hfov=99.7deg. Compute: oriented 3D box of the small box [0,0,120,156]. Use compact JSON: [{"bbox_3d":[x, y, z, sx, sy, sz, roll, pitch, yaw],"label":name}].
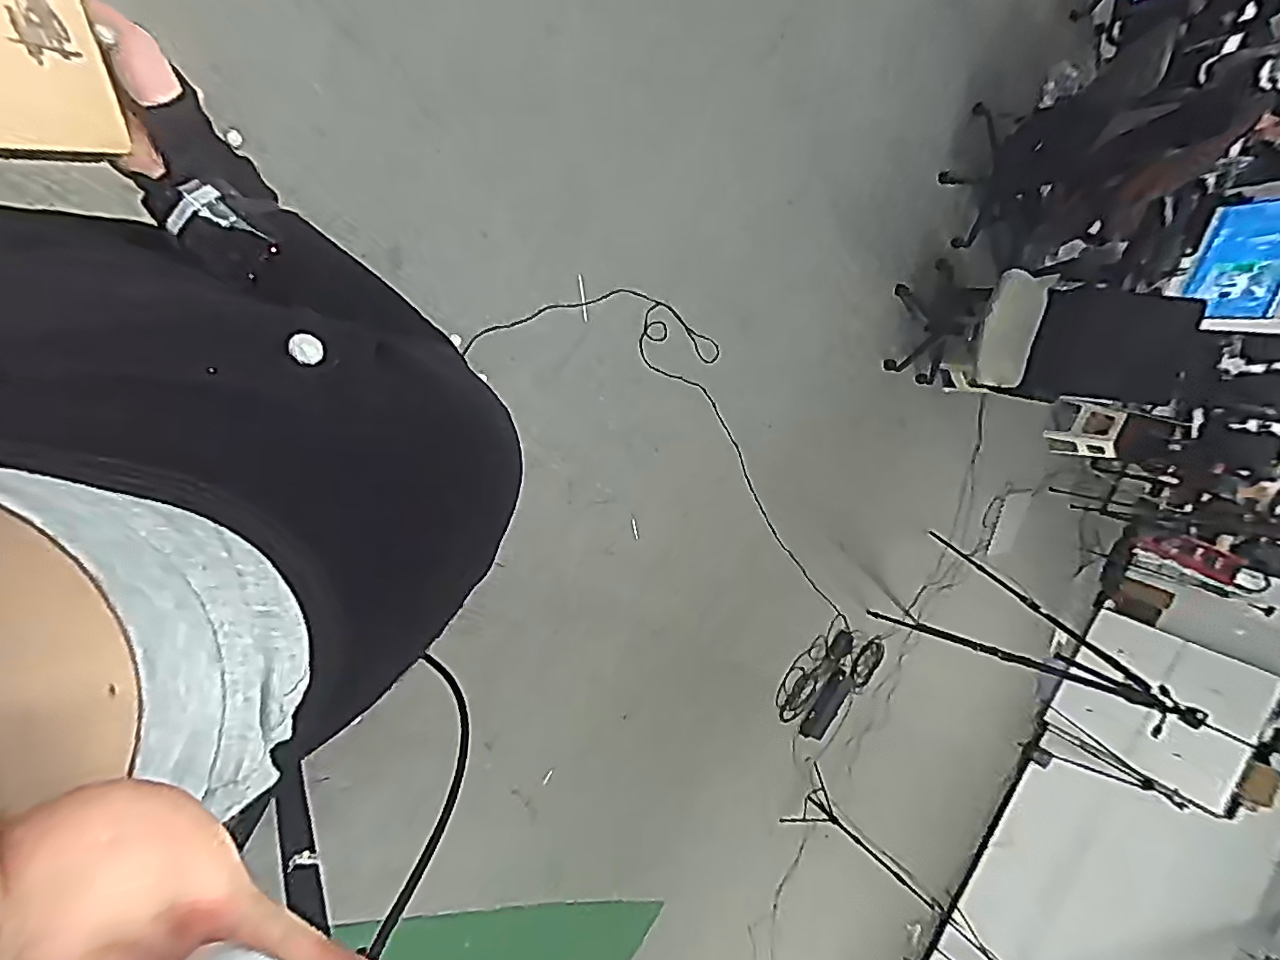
[{"bbox_3d":[-0.435,-0.277,0.291,0.179,0.176,0.168,-26,128,-41],"label":"small box"}]
